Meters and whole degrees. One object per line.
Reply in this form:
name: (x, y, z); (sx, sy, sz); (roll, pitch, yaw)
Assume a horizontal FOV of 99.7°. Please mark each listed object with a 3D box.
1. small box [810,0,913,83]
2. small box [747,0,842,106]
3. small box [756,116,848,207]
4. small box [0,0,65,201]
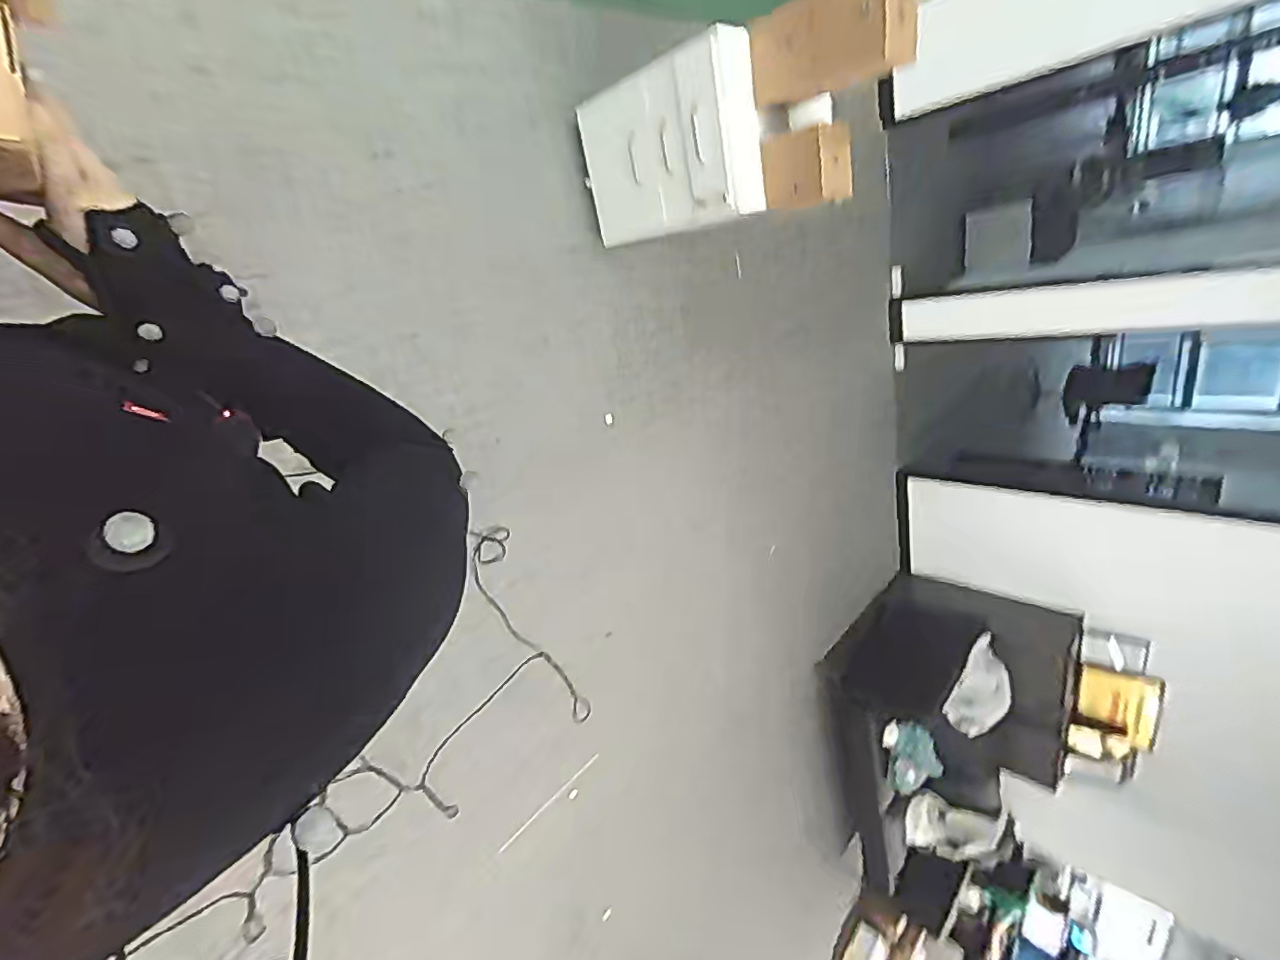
small box: (0.495, -1.028, 1.214); (0.168, 0.176, 0.179); (-29, 120, -37)
small box: (0.378, -1.053, 1.328); (0.168, 0.176, 0.179); (-28, 118, -36)
small box: (0.426, -0.831, 1.424); (0.168, 0.176, 0.179); (-30, 116, -38)
small box: (-0.403, -0.245, 0.248); (0.179, 0.176, 0.168); (-12, 108, -46)
